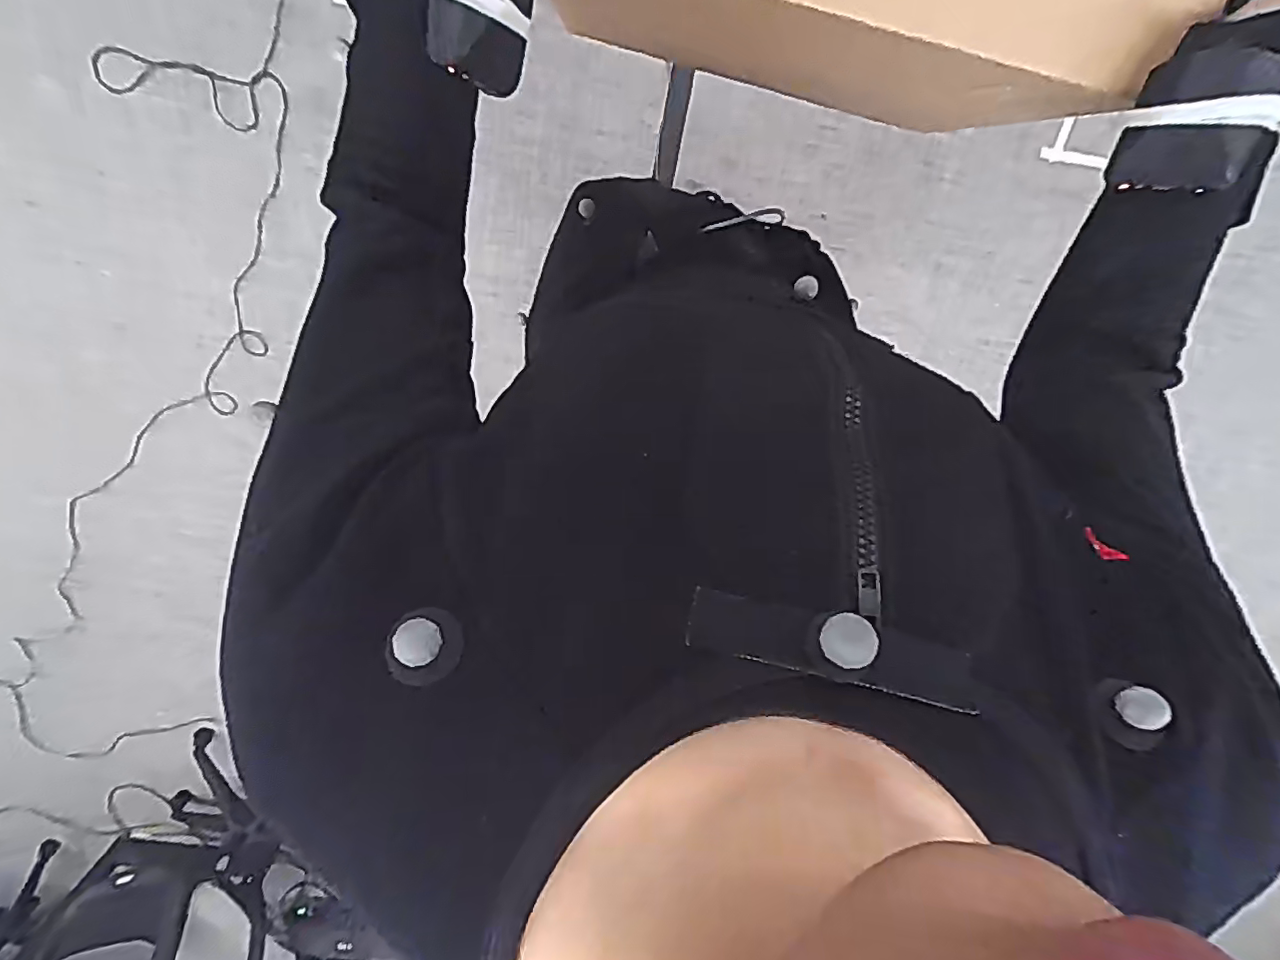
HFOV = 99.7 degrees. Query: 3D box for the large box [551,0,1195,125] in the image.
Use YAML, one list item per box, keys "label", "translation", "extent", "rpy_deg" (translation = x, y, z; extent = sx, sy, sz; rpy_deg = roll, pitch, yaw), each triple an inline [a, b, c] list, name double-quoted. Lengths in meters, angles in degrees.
- label: "large box"
  translation: [0.148, -0.475, 0.371]
  extent: [0.408, 0.320, 0.320]
  rpy_deg: [10, 121, -7]
